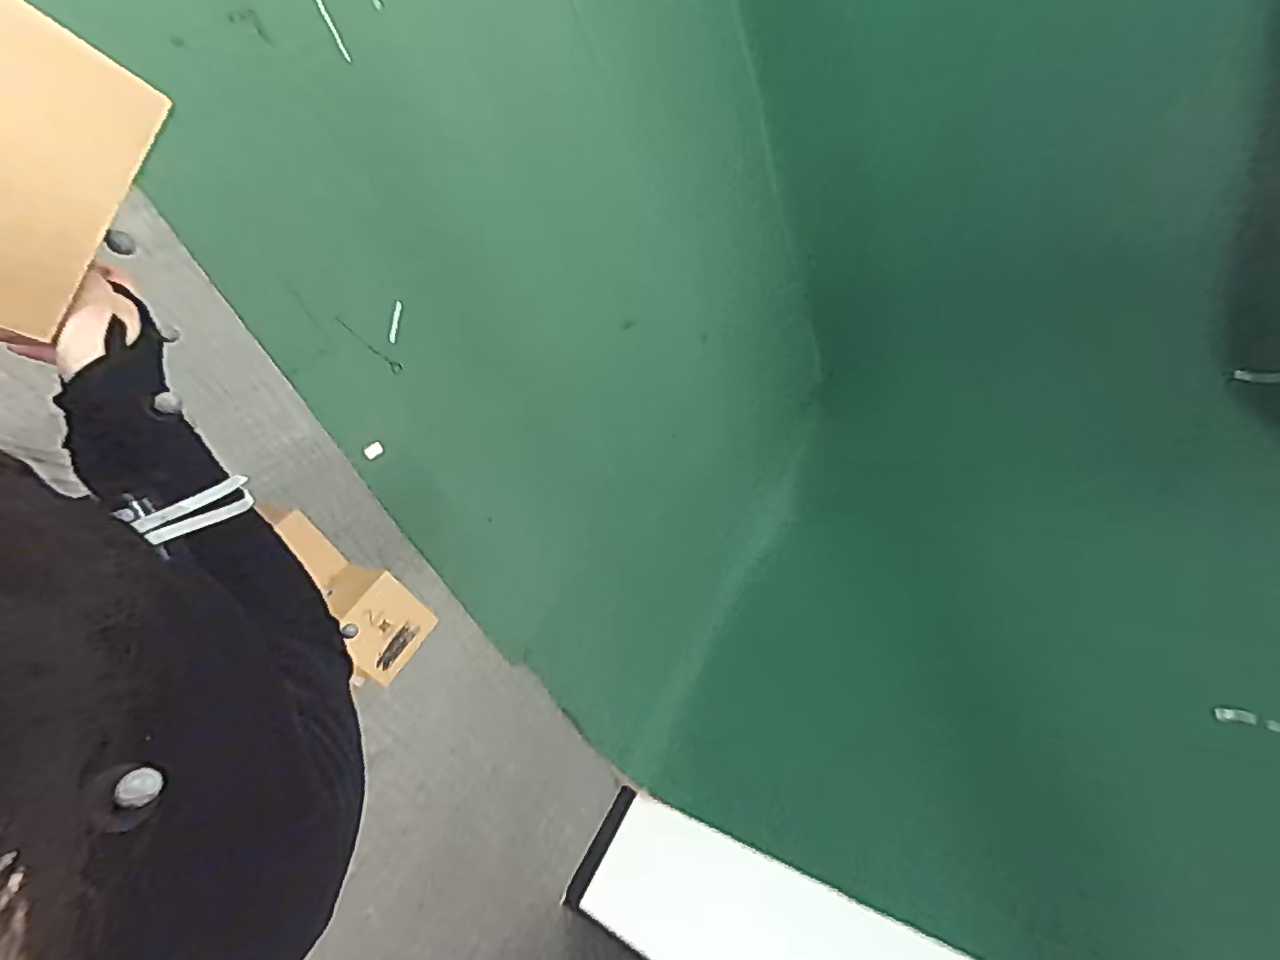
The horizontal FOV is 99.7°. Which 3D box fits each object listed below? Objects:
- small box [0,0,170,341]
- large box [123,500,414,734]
[{"bbox_3d":[-0.439,-0.214,0.333,0.168,0.176,0.179,25,90,-51],"label":"small box"},{"bbox_3d":[-0.820,0.294,1.229,0.320,0.320,0.408,-52,130,-36],"label":"large box"}]
